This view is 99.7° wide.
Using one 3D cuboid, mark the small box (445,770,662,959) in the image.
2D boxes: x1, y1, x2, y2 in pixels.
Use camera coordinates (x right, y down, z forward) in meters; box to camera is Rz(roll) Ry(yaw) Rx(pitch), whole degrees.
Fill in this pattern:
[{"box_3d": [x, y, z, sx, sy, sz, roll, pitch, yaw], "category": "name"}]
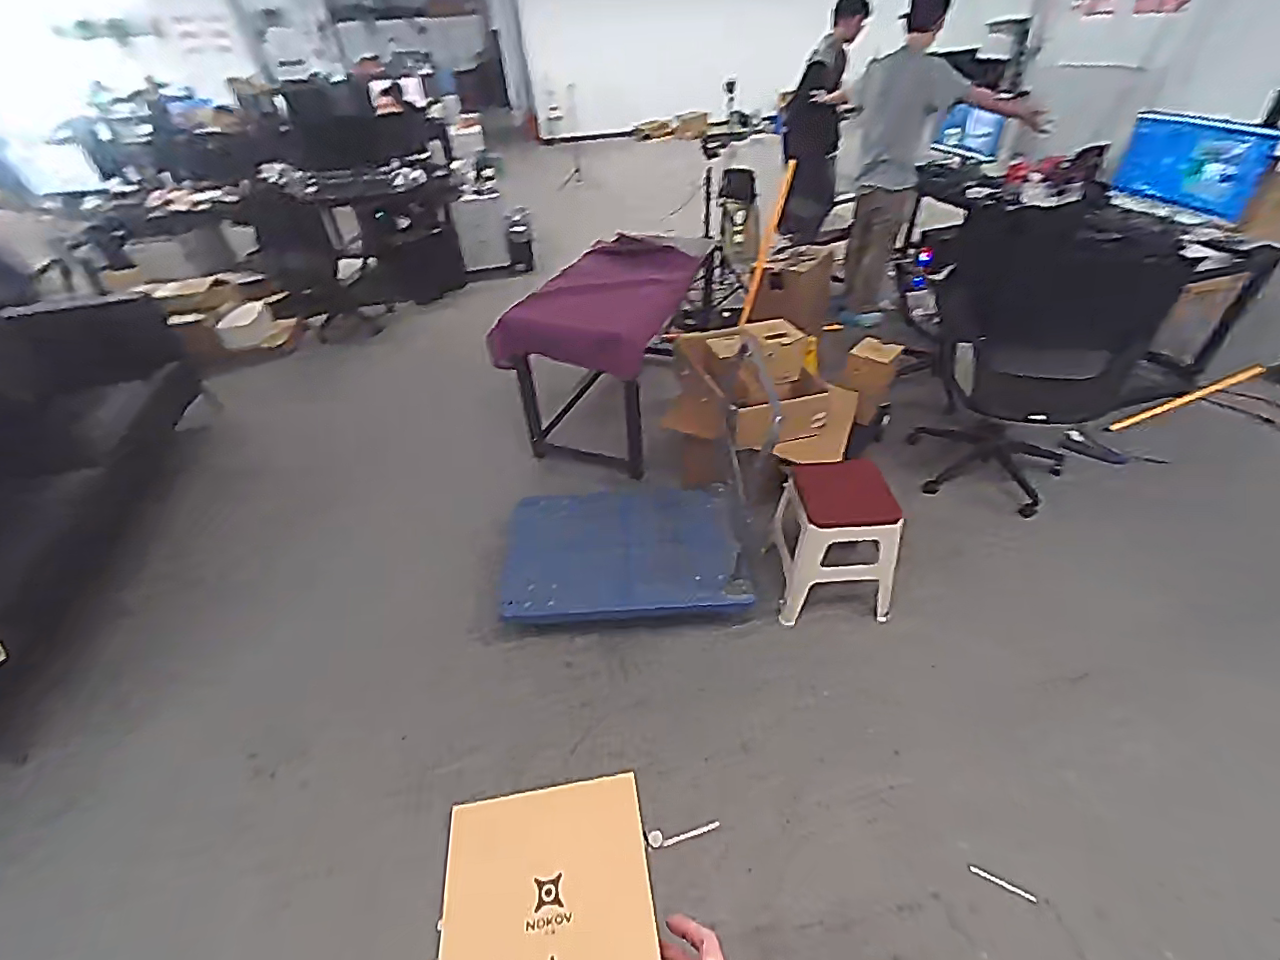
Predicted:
[{"box_3d": [-0.068, 0.396, 0.489, 0.168, 0.176, 0.179, -7, 42, -4], "category": "small box"}]
